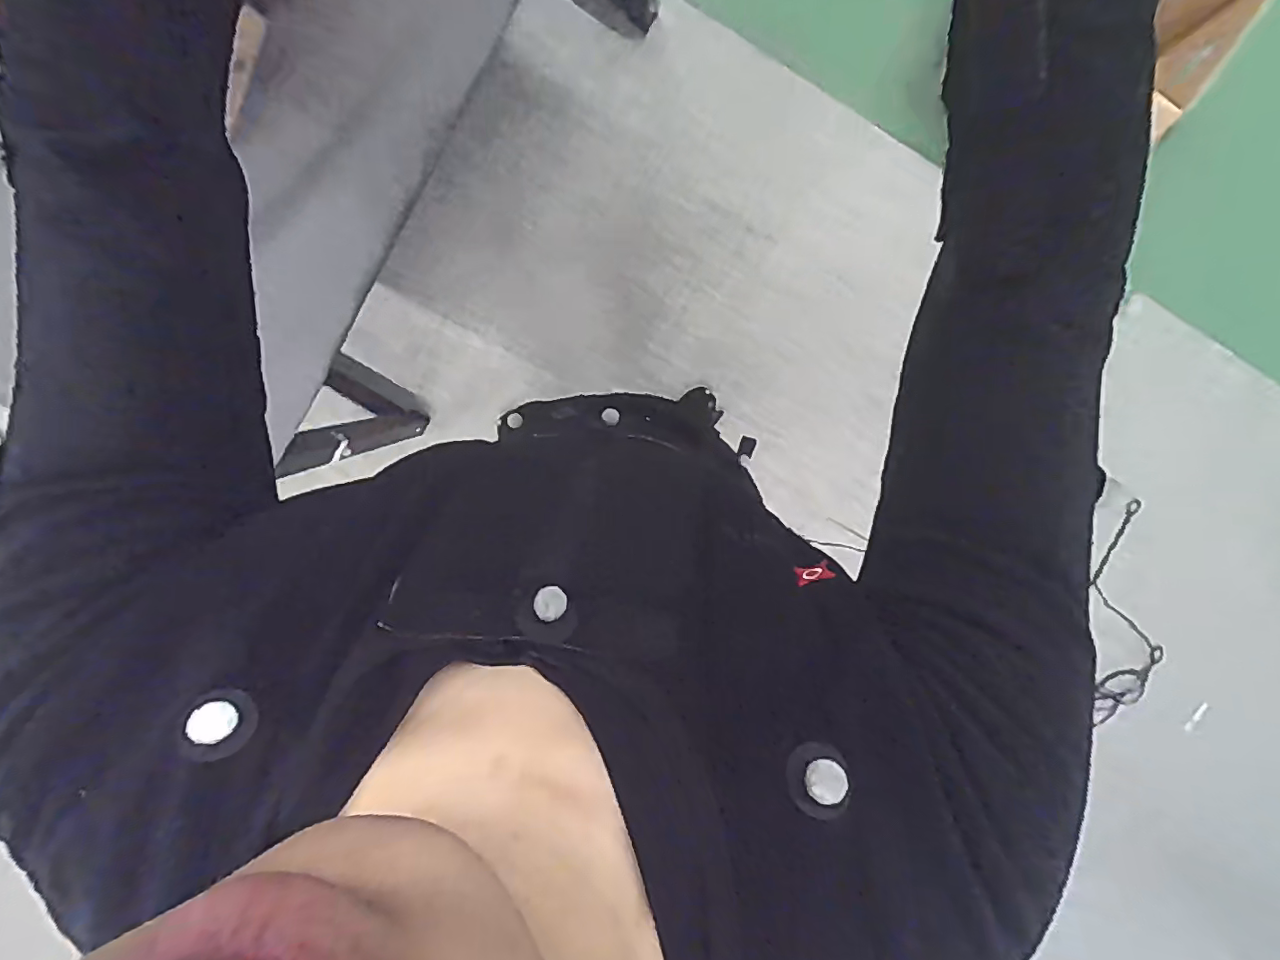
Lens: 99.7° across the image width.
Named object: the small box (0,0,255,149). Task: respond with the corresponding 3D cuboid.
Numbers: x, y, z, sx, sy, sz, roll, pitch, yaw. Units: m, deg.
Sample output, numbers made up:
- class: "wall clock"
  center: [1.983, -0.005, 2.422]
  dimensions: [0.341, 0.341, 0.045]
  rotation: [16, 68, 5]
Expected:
- class: "small box"
  center: [-0.550, -0.478, 0.546]
  dimensions: [0.179, 0.176, 0.168]
  rotation: [27, 100, -6]
